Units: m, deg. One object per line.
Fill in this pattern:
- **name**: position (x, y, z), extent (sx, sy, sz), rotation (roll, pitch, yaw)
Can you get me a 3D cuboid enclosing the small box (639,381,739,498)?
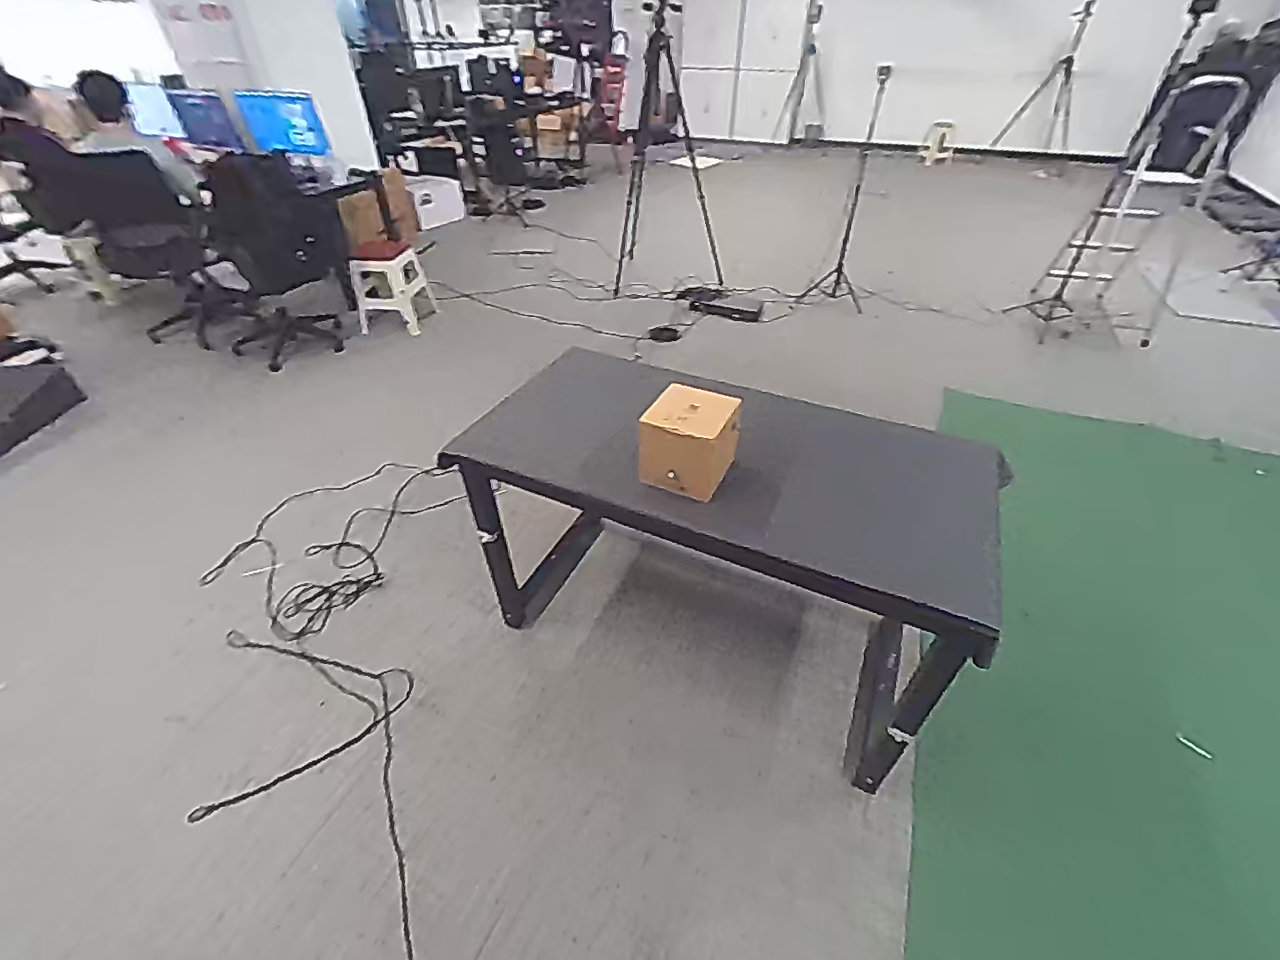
- **small box**: position (0.106, -0.090, 1.190), extent (0.168, 0.176, 0.179), rotation (17, 43, 21)
